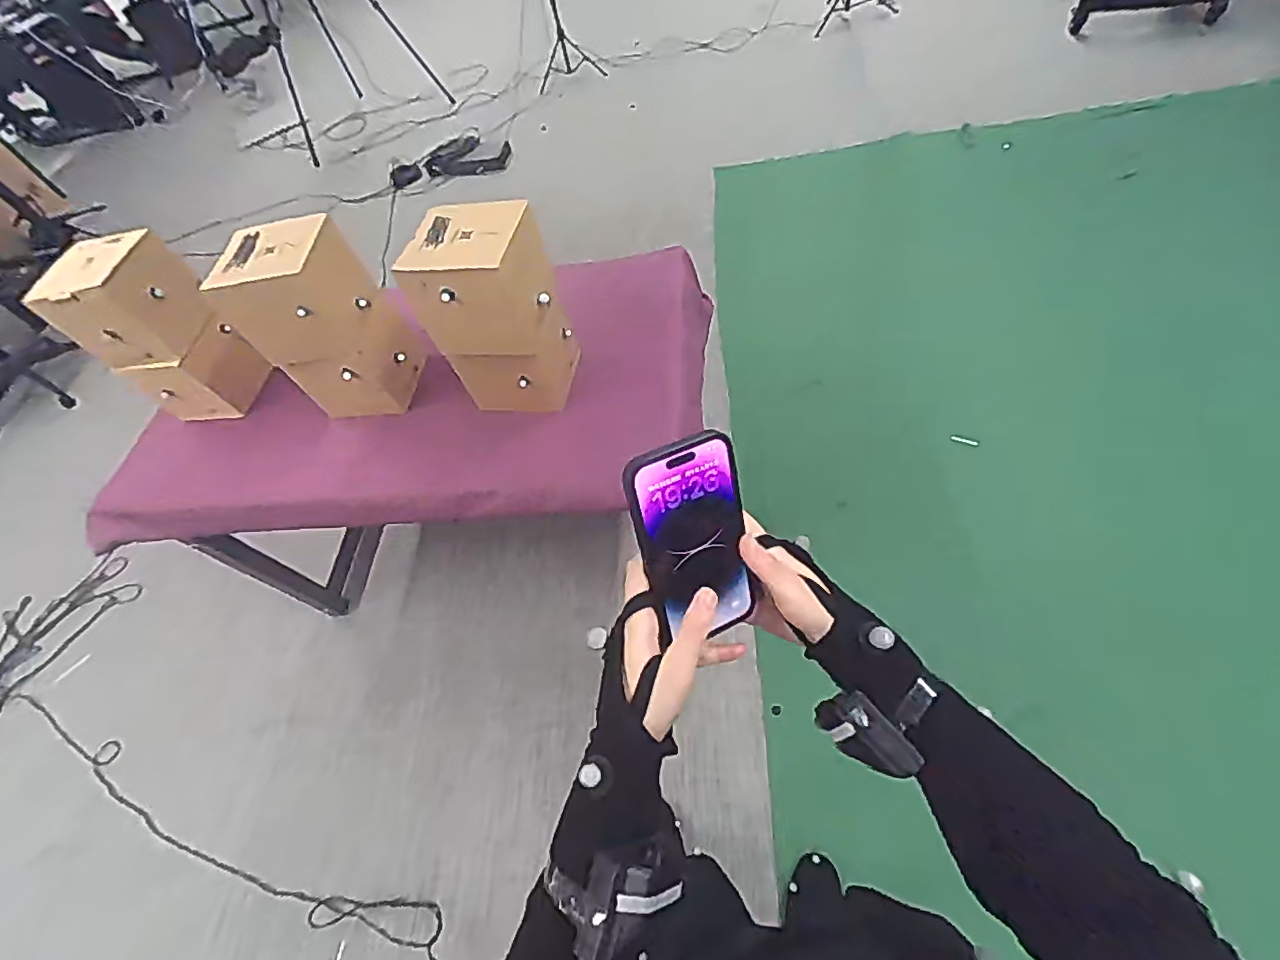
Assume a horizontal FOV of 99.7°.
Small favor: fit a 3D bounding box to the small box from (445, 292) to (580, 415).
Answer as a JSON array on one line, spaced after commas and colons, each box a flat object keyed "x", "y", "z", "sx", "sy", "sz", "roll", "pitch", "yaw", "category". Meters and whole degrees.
[{"x": -0.227, "y": -0.238, "z": 1.023, "sx": 0.179, "sy": 0.176, "sz": 0.168, "roll": 3, "pitch": 58, "yaw": 15, "category": "small box"}]

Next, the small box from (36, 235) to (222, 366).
[{"x": -0.970, "y": -0.338, "z": 1.049, "sx": 0.168, "sy": 0.176, "sz": 0.179, "roll": -6, "pitch": 57, "yaw": 8, "category": "small box"}]

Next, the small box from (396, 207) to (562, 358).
[{"x": -0.248, "y": -0.314, "z": 0.879, "sx": 0.179, "sy": 0.176, "sz": 0.168, "roll": 3, "pitch": 58, "yaw": 14, "category": "small box"}]

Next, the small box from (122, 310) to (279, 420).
[{"x": -0.942, "y": -0.242, "z": 1.179, "sx": 0.168, "sy": 0.176, "sz": 0.179, "roll": -1, "pitch": 57, "yaw": 11, "category": "small box"}]

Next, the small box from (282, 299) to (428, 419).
[{"x": -0.560, "y": -0.239, "z": 1.093, "sx": 0.179, "sy": 0.176, "sz": 0.168, "roll": -2, "pitch": 57, "yaw": 11, "category": "small box"}]
